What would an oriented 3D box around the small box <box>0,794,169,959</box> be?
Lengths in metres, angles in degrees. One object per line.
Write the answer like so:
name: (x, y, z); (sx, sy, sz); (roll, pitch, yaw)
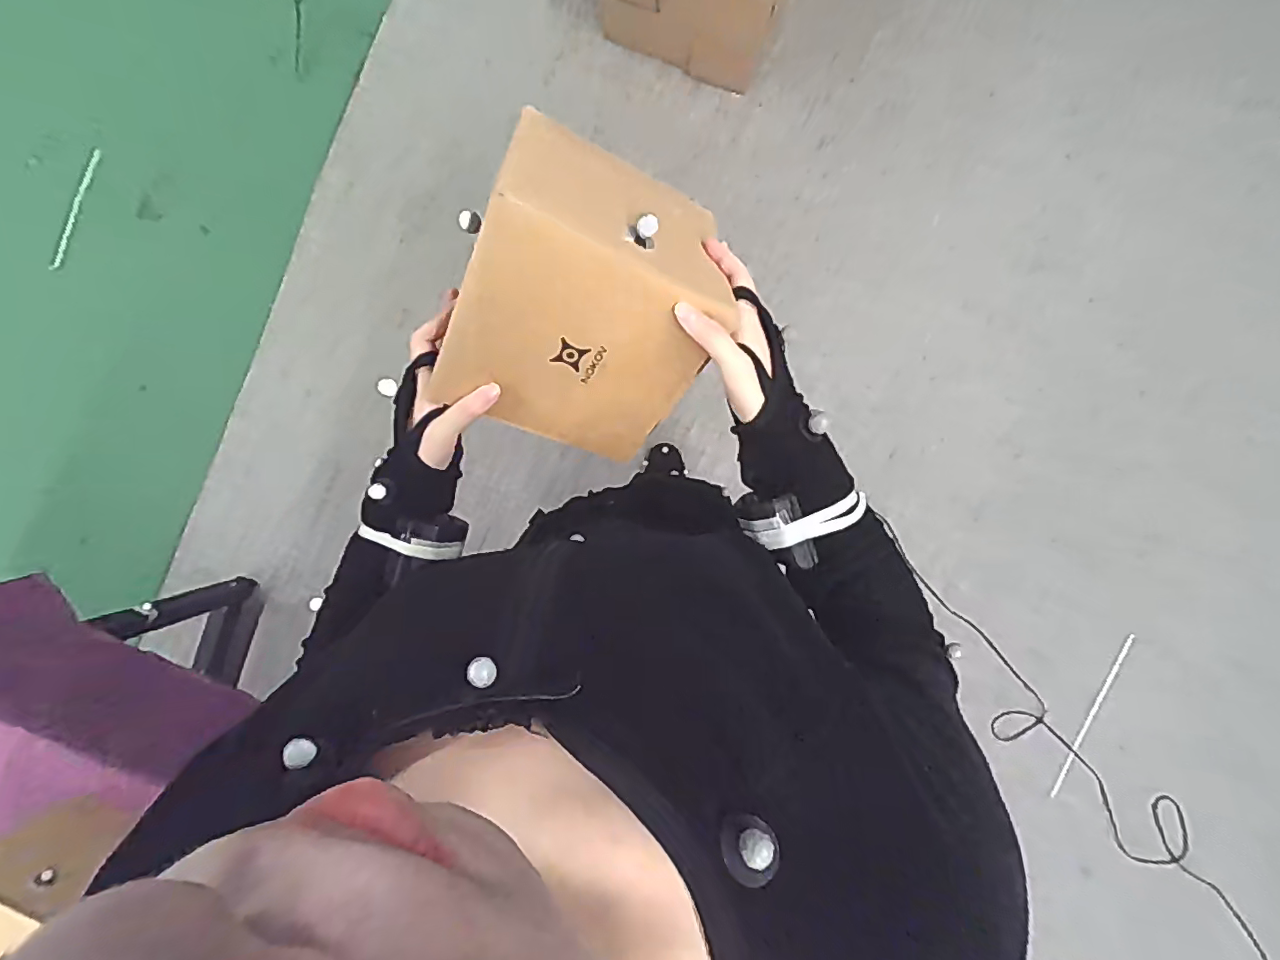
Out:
small box: (-0.831, 0.589, 0.762); (0.179, 0.176, 0.168); (23, 94, 3)
